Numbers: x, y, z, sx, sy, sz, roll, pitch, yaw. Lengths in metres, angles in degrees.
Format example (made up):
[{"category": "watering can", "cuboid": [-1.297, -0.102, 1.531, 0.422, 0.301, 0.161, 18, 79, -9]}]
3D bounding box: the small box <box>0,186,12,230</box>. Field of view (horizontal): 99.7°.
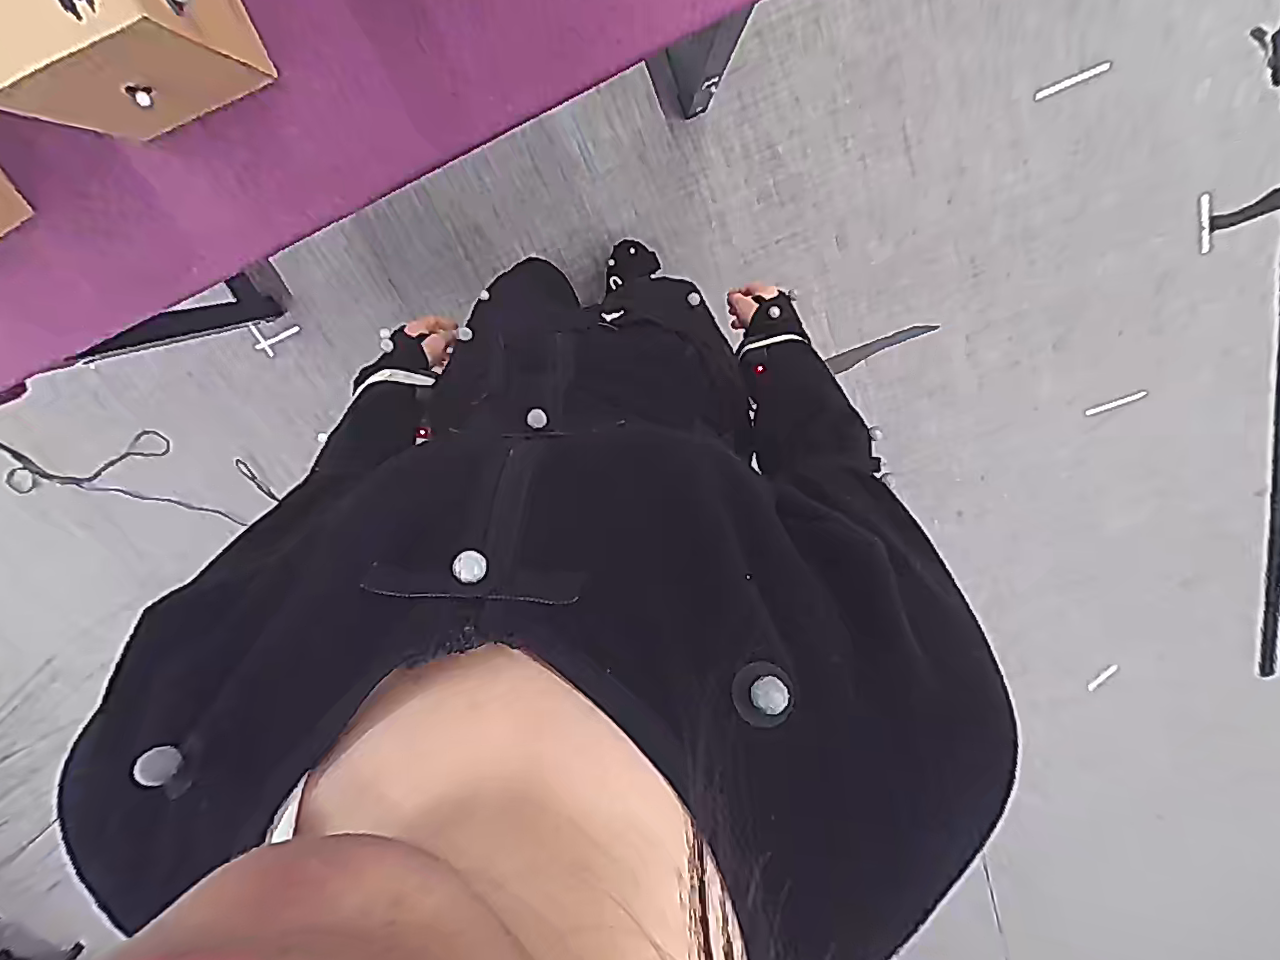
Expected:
[{"category": "small box", "cuboid": [-0.804, -0.311, 0.527, 0.179, 0.176, 0.168, -23, 110, 10]}]
